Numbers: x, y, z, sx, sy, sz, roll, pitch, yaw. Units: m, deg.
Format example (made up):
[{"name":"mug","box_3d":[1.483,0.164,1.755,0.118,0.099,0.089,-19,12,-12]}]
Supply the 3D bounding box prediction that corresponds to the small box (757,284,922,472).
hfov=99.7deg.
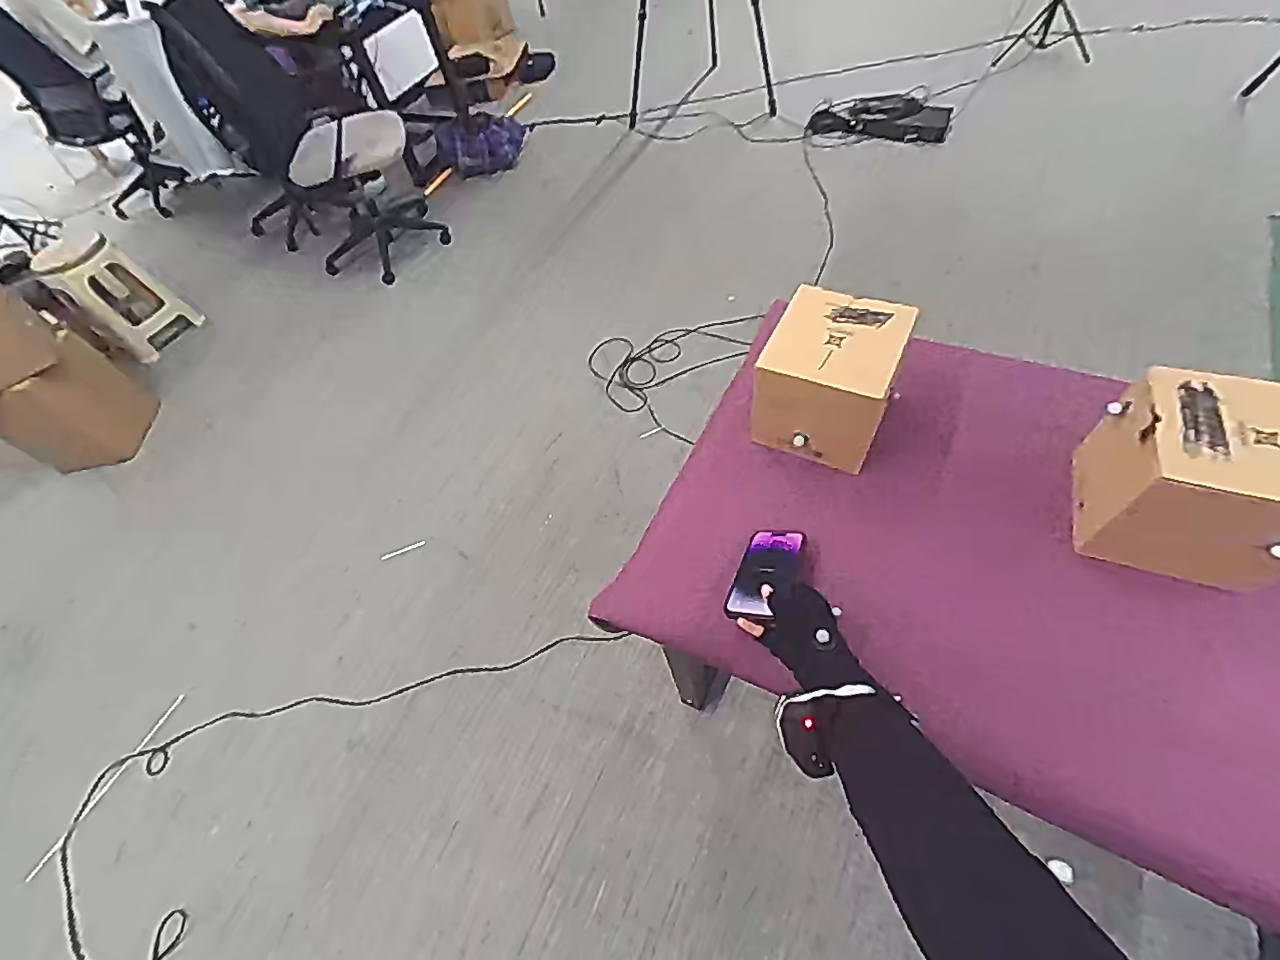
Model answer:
[{"name":"small box","box_3d":[0.274,-0.143,0.775,0.168,0.176,0.179,22,64,22]}]
